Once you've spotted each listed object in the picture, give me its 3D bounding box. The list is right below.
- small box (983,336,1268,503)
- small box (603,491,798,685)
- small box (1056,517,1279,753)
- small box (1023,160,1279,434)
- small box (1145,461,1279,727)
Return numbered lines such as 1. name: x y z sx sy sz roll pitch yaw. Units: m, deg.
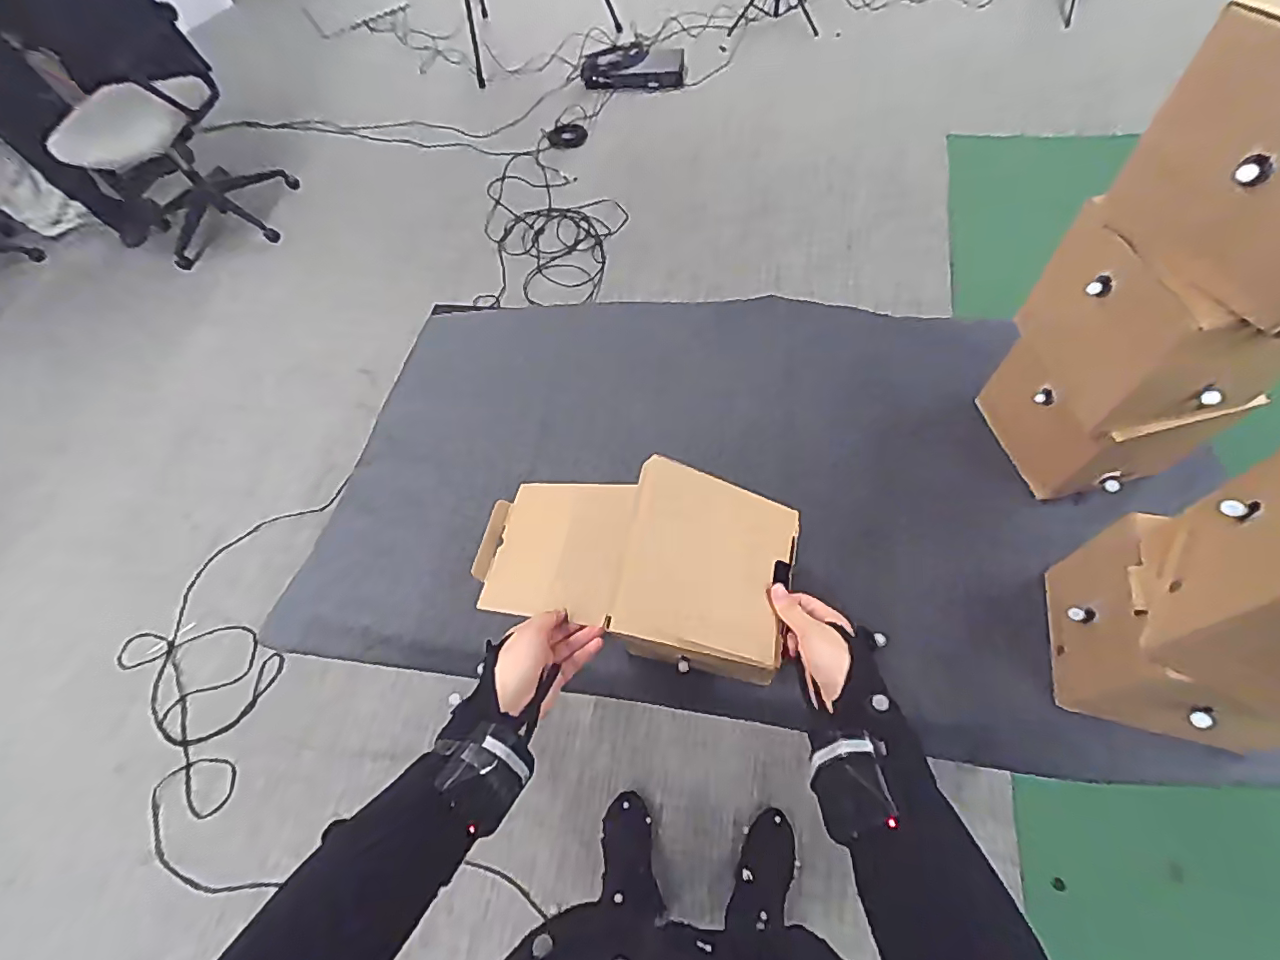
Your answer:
1. small box: 0.576 -0.095 0.679 0.168 0.176 0.179 -15 63 3
2. small box: 0.078 0.131 0.625 0.179 0.176 0.168 8 66 16
3. small box: 0.553 0.160 0.542 0.179 0.176 0.168 11 61 14
4. small box: 0.531 -0.172 0.539 0.168 0.176 0.179 -12 61 5
5. small box: 0.535 0.091 0.394 0.179 0.176 0.168 31 67 22
